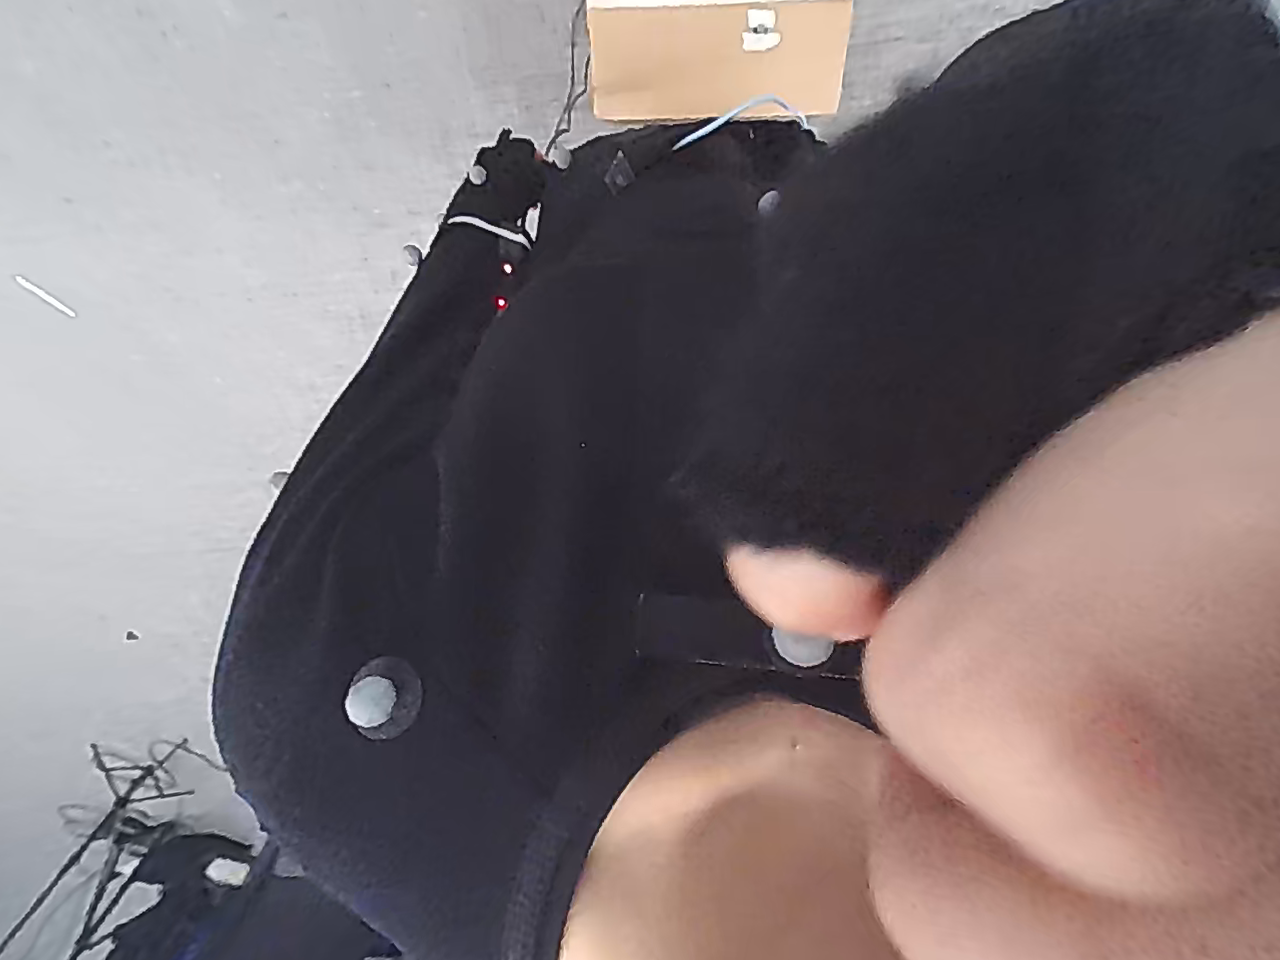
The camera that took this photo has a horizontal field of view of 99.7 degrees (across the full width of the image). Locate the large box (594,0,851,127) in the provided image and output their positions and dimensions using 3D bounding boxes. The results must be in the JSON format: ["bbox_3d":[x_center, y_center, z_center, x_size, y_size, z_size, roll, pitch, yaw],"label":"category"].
[{"bbox_3d":[0.129,-0.819,0.957,0.408,0.320,0.320,0,123,1],"label":"large box"}]
